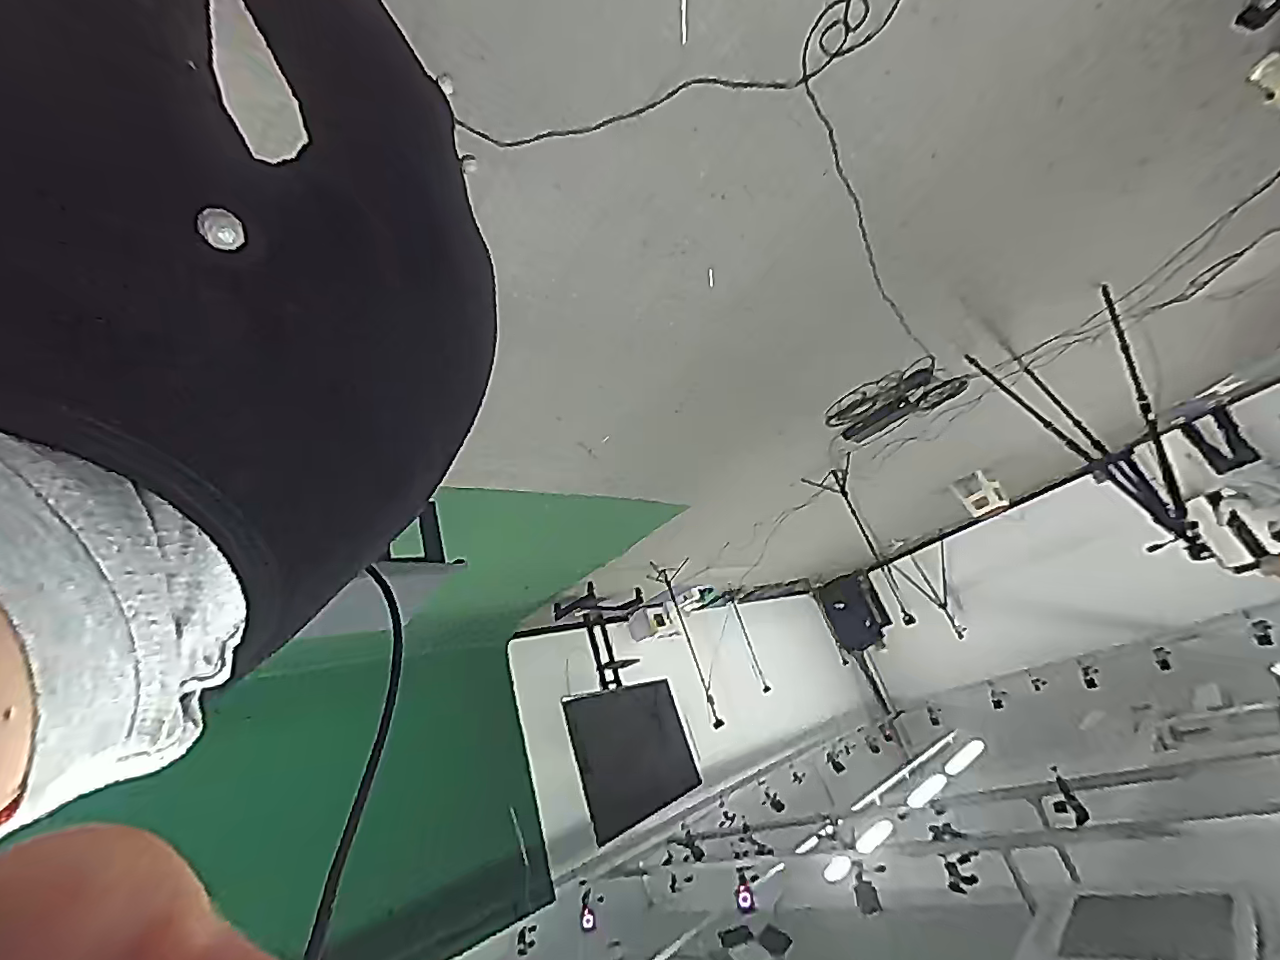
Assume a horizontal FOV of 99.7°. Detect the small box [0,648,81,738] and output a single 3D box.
[{"bbox_3d":[-1.562,0.541,1.381,0.179,0.176,0.168,7,144,-46],"label":"small box"}]
